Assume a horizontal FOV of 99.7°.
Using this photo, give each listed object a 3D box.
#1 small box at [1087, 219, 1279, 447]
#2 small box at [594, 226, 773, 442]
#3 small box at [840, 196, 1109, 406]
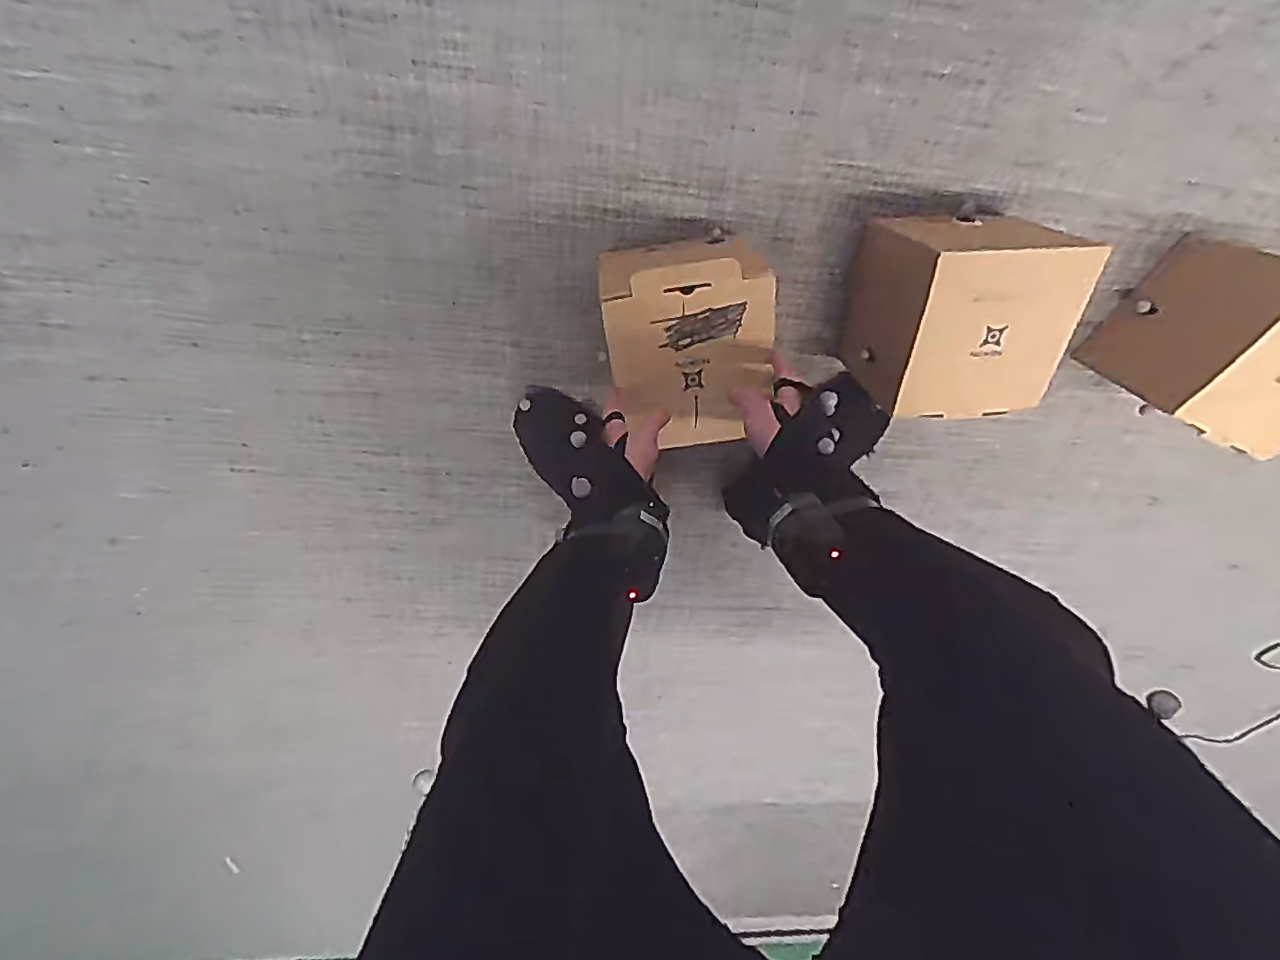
[{"bbox_3d":[0.685,-0.175,0.636,0.168,0.176,0.179,18,124,-16],"label":"small box"},{"bbox_3d":[0.043,-0.167,0.595,0.168,0.176,0.179,-8,127,2],"label":"small box"},{"bbox_3d":[0.338,-0.200,0.595,0.168,0.176,0.179,-4,126,-3],"label":"small box"}]
